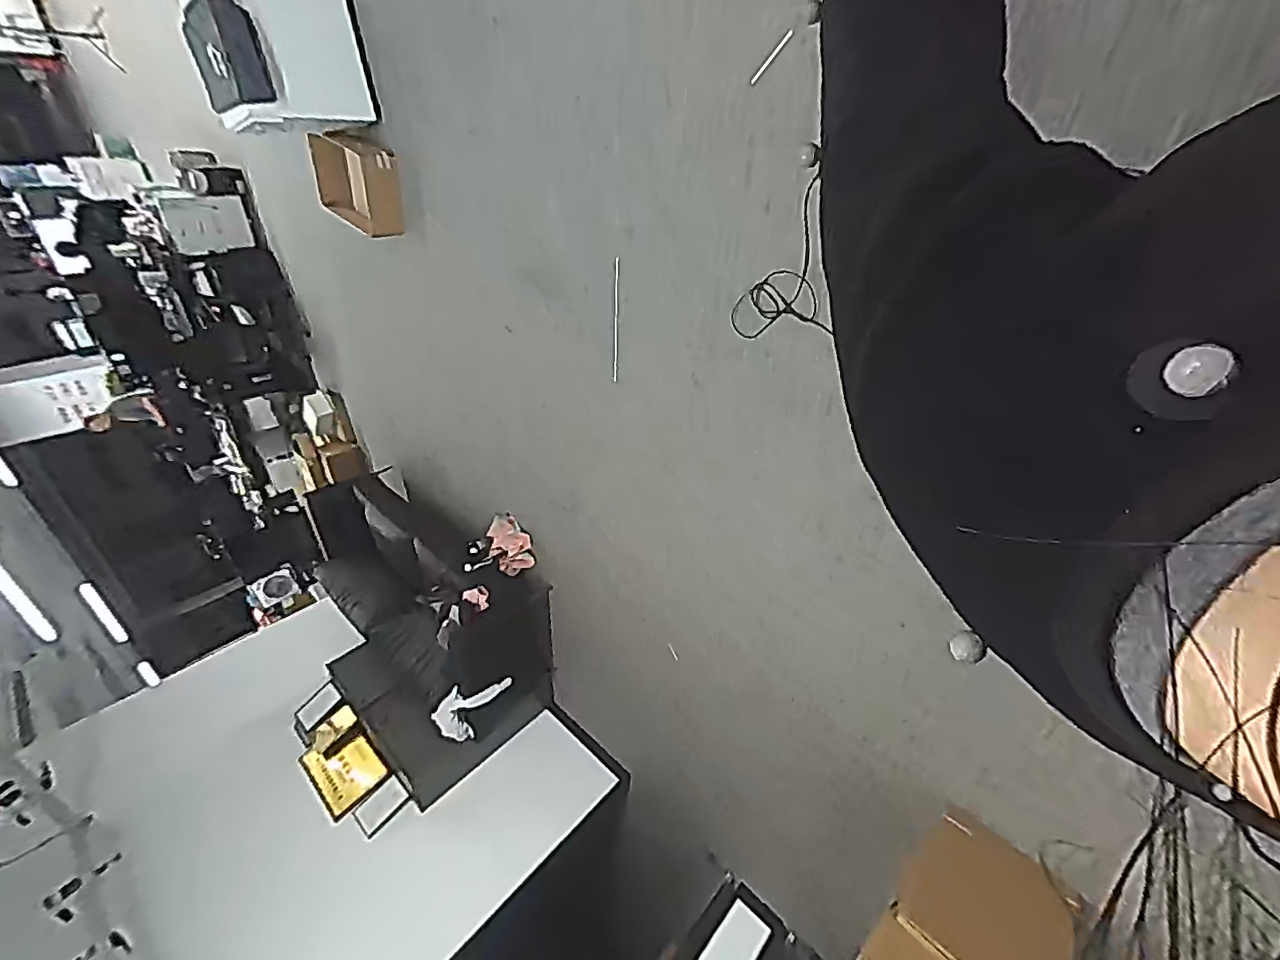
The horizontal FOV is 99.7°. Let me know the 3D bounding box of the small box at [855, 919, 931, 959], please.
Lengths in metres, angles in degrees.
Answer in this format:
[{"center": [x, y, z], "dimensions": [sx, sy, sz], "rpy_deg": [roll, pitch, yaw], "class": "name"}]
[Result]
[{"center": [0.754, 1.476, 1.611], "dimensions": [0.179, 0.176, 0.168], "rpy_deg": [32, 131, 31], "class": "small box"}]
